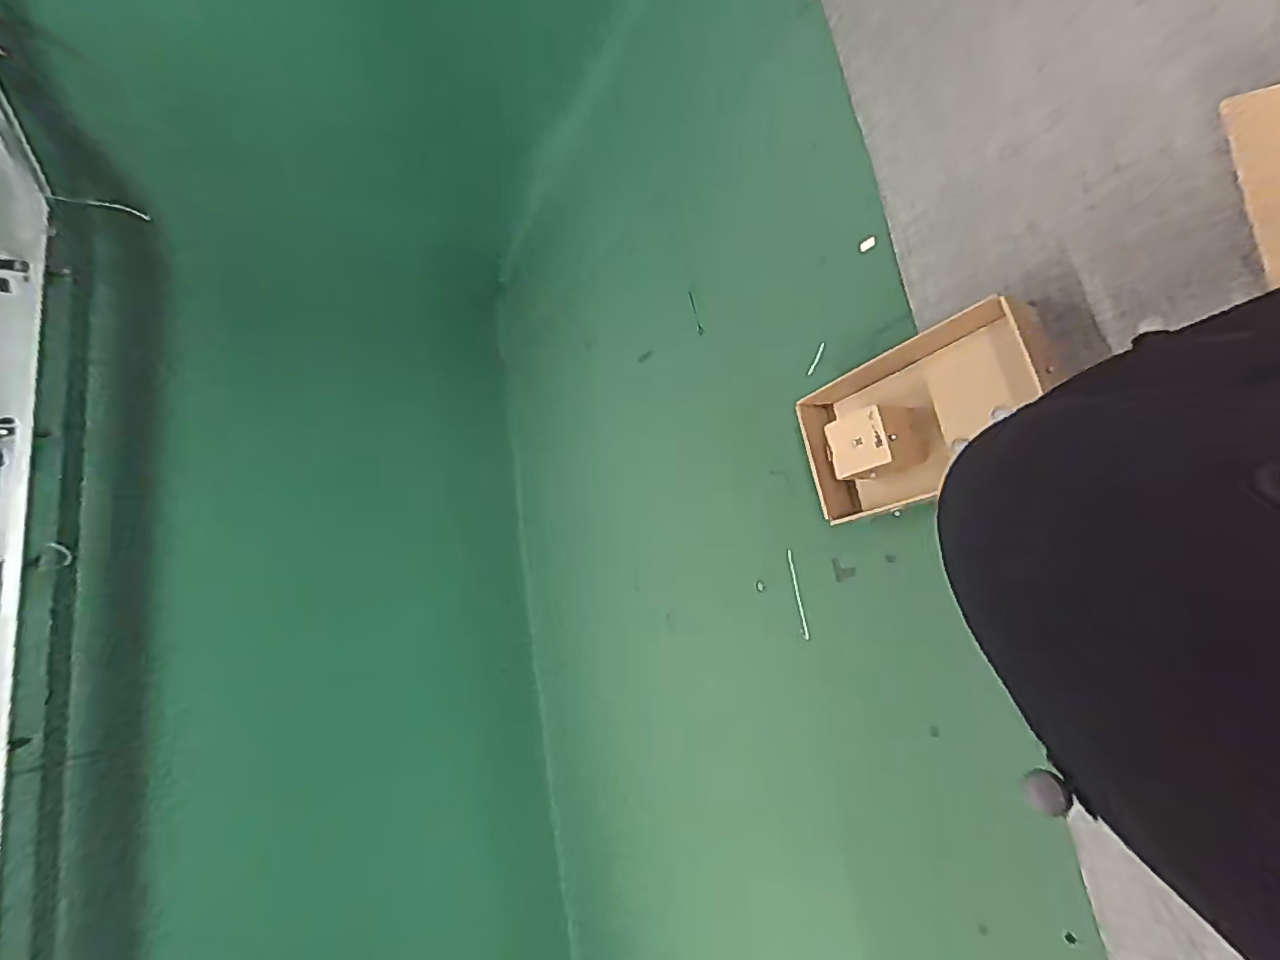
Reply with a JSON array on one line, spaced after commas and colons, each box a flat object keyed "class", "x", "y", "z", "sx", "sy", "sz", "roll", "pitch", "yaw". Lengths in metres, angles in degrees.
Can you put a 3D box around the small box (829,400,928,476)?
[{"class": "small box", "x": 0.670, "y": -0.110, "z": 1.523, "sx": 0.179, "sy": 0.176, "sz": 0.168, "roll": -28, "pitch": 67, "yaw": 53}]
